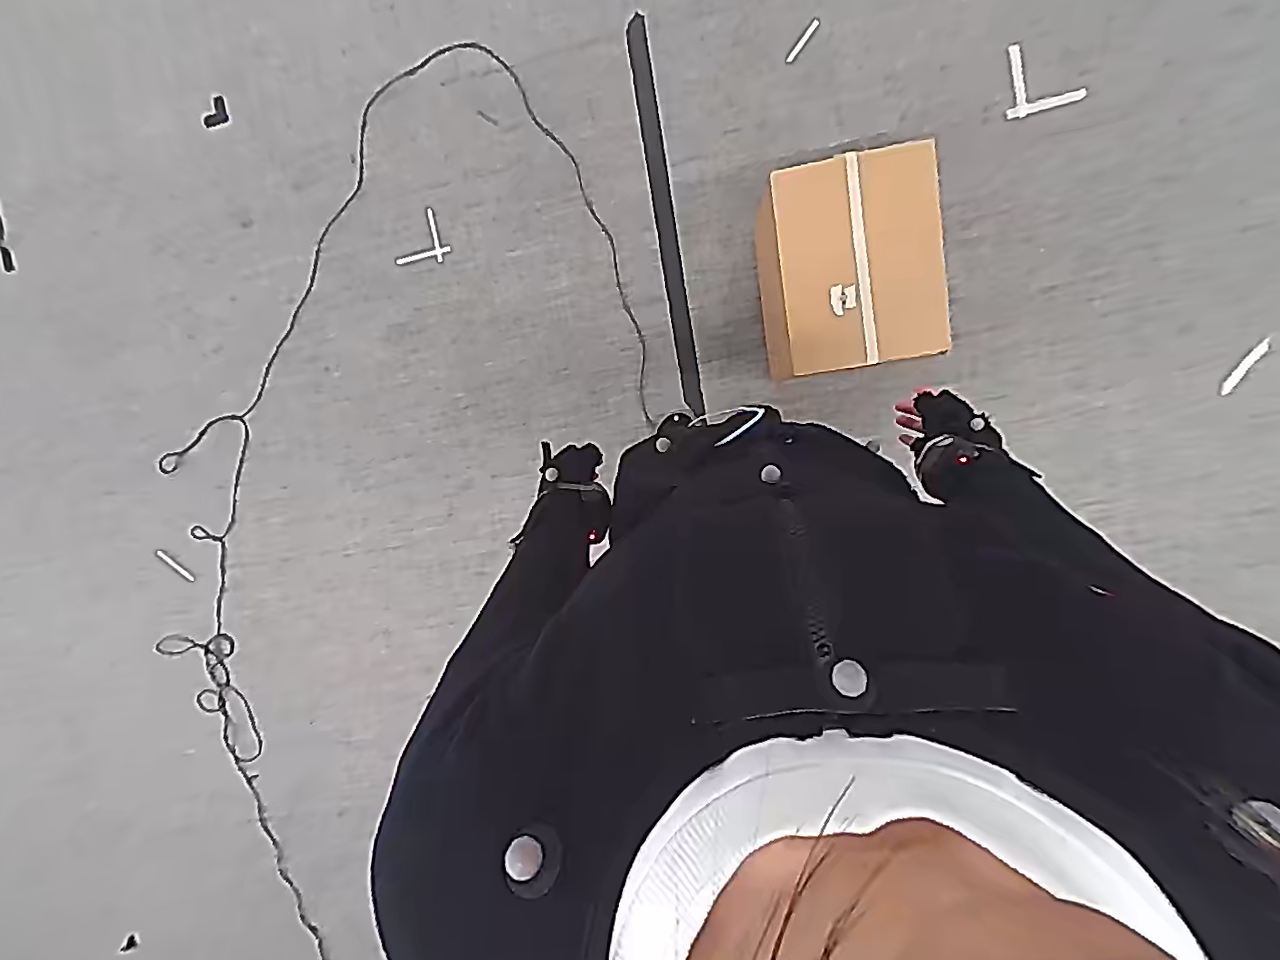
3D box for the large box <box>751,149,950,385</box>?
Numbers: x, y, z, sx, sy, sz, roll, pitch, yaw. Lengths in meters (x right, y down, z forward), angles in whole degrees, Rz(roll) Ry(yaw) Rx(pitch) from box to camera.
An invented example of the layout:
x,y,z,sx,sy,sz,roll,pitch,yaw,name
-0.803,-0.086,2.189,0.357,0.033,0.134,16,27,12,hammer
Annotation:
x,y,z,sx,sy,sz,roll,pitch,yaw,name
0.451,-0.444,1.224,0.320,0.320,0.408,-9,97,7,large box
